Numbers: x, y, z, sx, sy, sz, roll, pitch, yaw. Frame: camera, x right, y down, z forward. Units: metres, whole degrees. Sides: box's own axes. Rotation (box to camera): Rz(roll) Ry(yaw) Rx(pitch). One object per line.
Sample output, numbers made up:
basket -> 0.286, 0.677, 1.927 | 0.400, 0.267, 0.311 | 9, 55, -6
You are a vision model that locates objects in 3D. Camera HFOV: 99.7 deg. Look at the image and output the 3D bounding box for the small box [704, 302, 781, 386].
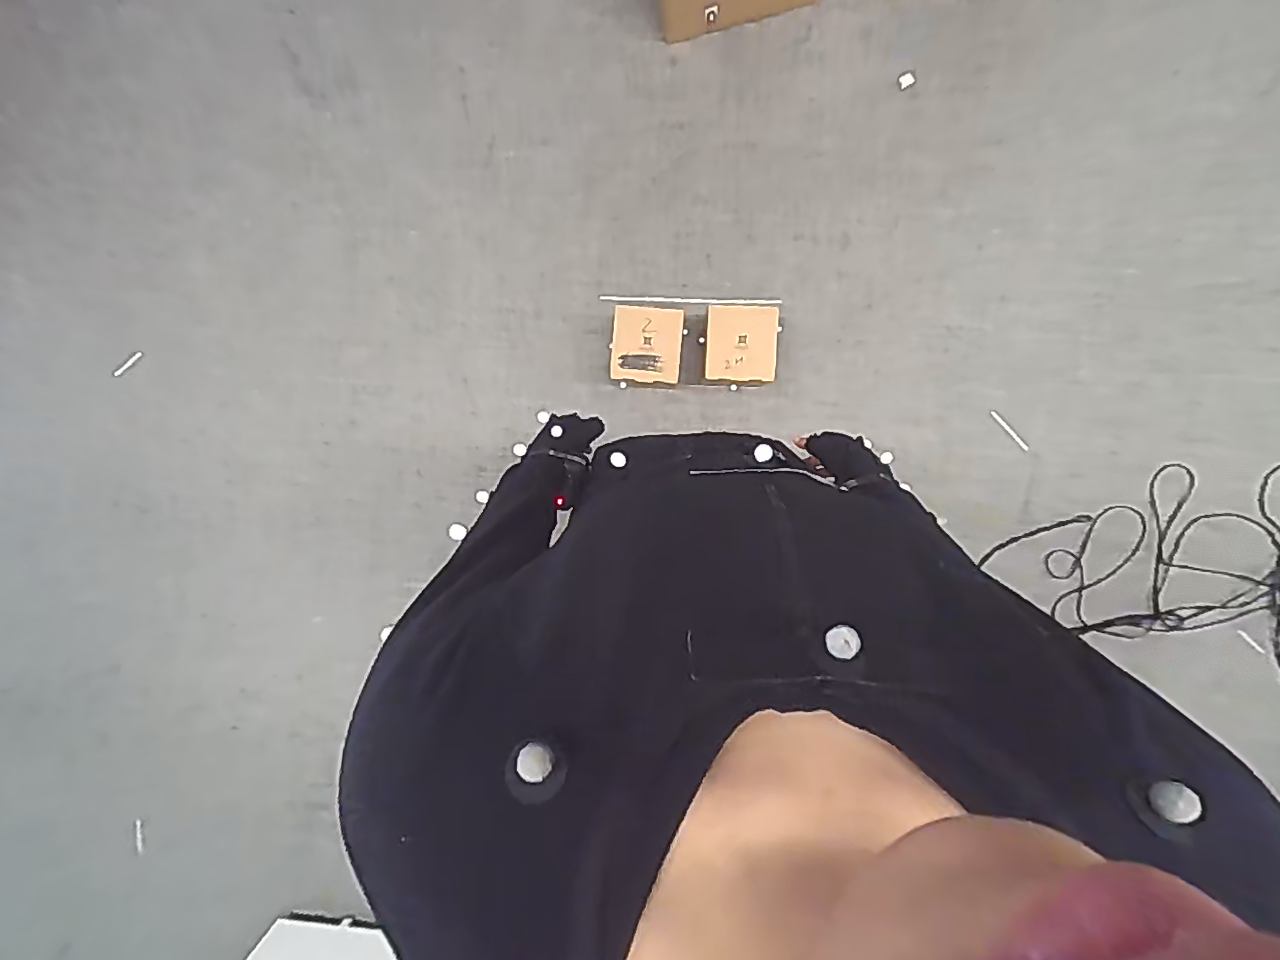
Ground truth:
small box -> 0.248, -0.332, 1.345 | 0.168, 0.176, 0.179 | 2, 96, 3
